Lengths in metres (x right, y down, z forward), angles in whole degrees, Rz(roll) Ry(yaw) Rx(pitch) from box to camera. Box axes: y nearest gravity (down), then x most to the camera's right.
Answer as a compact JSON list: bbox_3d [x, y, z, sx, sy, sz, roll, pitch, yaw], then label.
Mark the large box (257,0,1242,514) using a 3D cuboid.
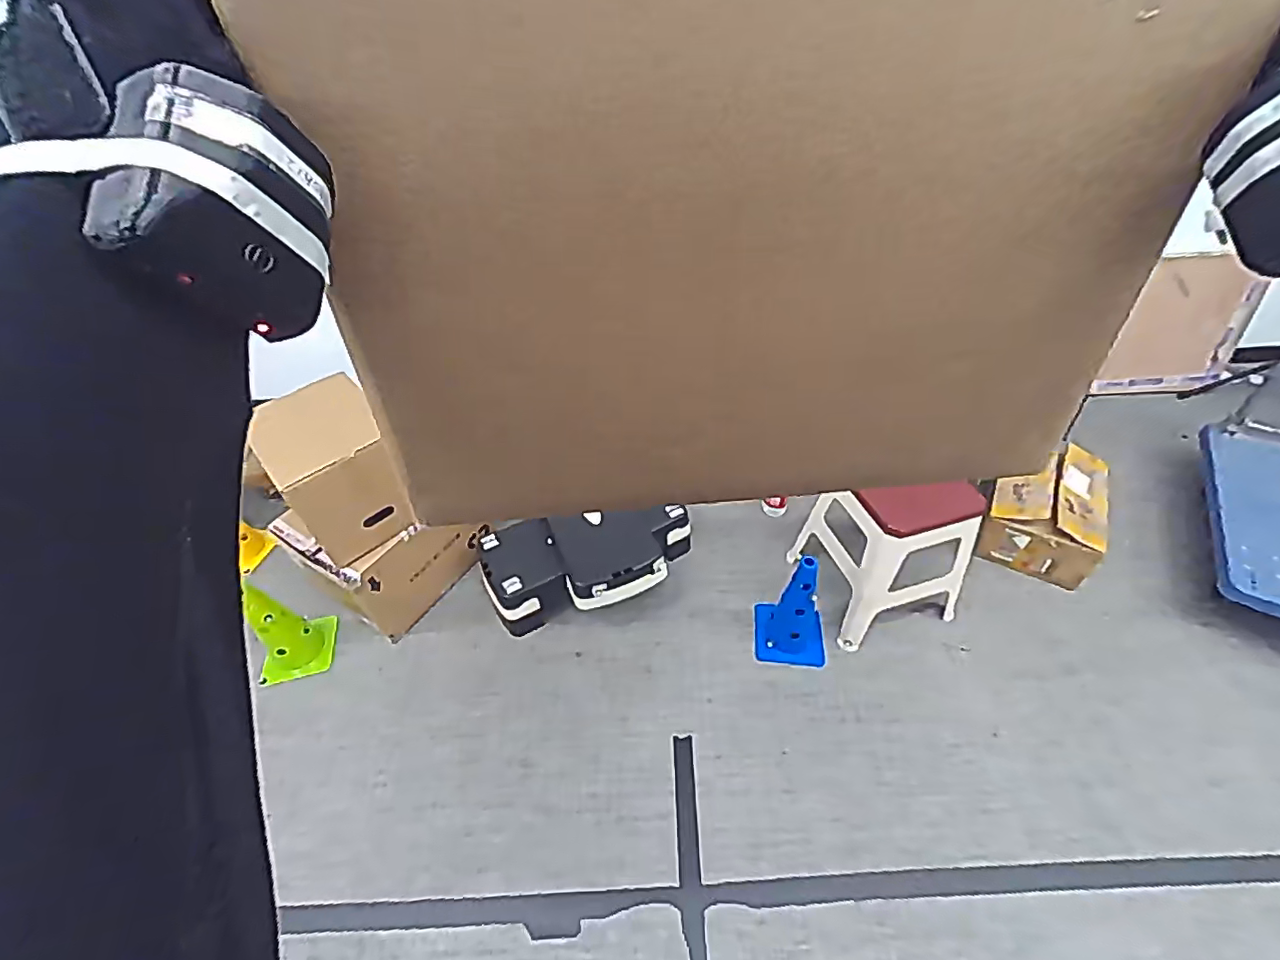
[{"bbox_3d":[0.042,-0.201,0.379,0.408,0.320,0.320,-5,38,-4],"label":"large box"}]
